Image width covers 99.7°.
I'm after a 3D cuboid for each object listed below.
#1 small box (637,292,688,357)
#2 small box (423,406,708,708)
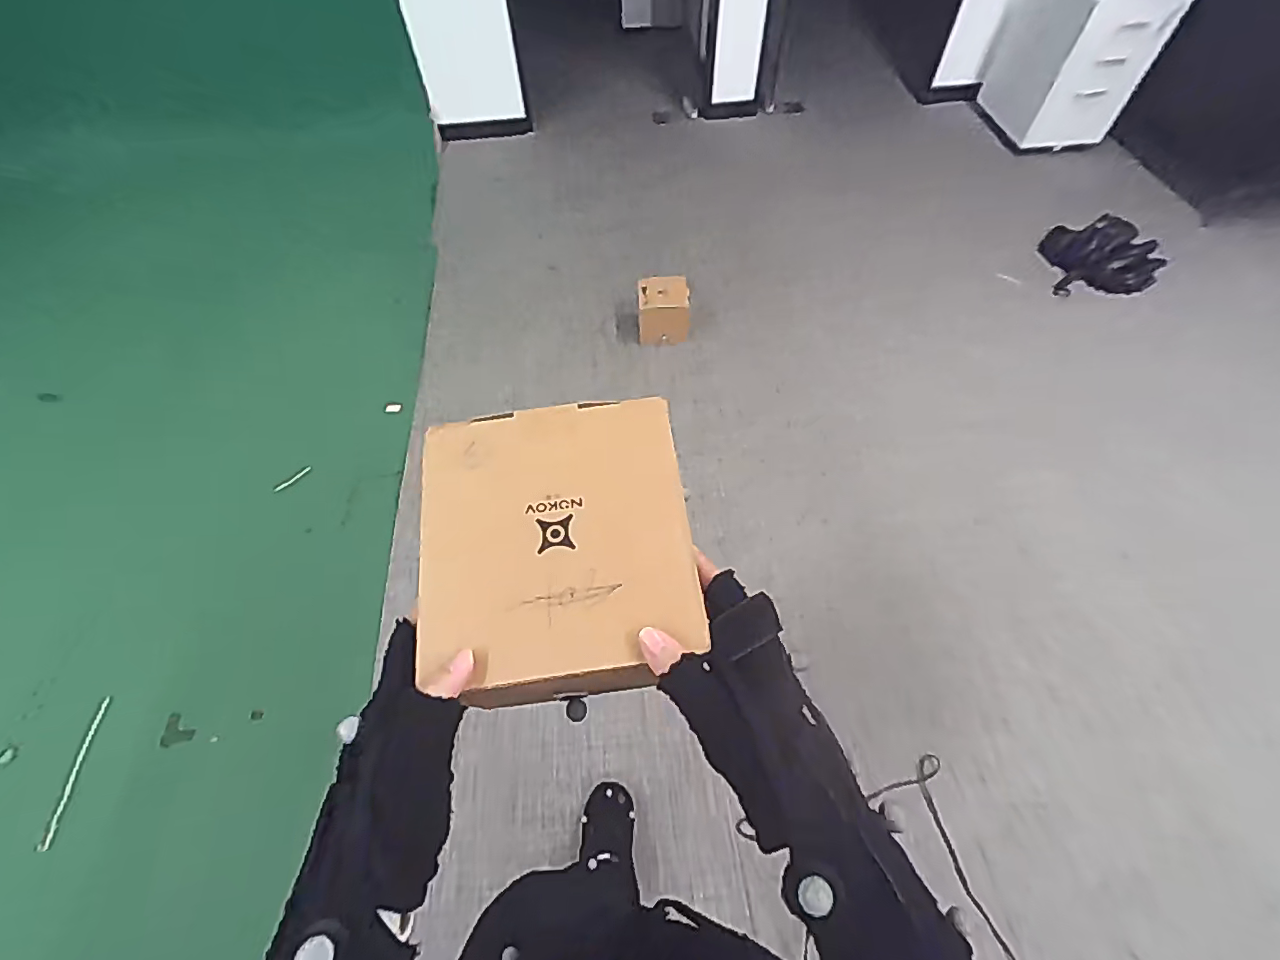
[{"bbox_3d":[0.077,-0.568,1.982,0.179,0.176,0.168,-3,56,0],"label":"small box"},{"bbox_3d":[-0.051,0.068,0.415,0.168,0.176,0.179,-8,64,-2],"label":"small box"}]
